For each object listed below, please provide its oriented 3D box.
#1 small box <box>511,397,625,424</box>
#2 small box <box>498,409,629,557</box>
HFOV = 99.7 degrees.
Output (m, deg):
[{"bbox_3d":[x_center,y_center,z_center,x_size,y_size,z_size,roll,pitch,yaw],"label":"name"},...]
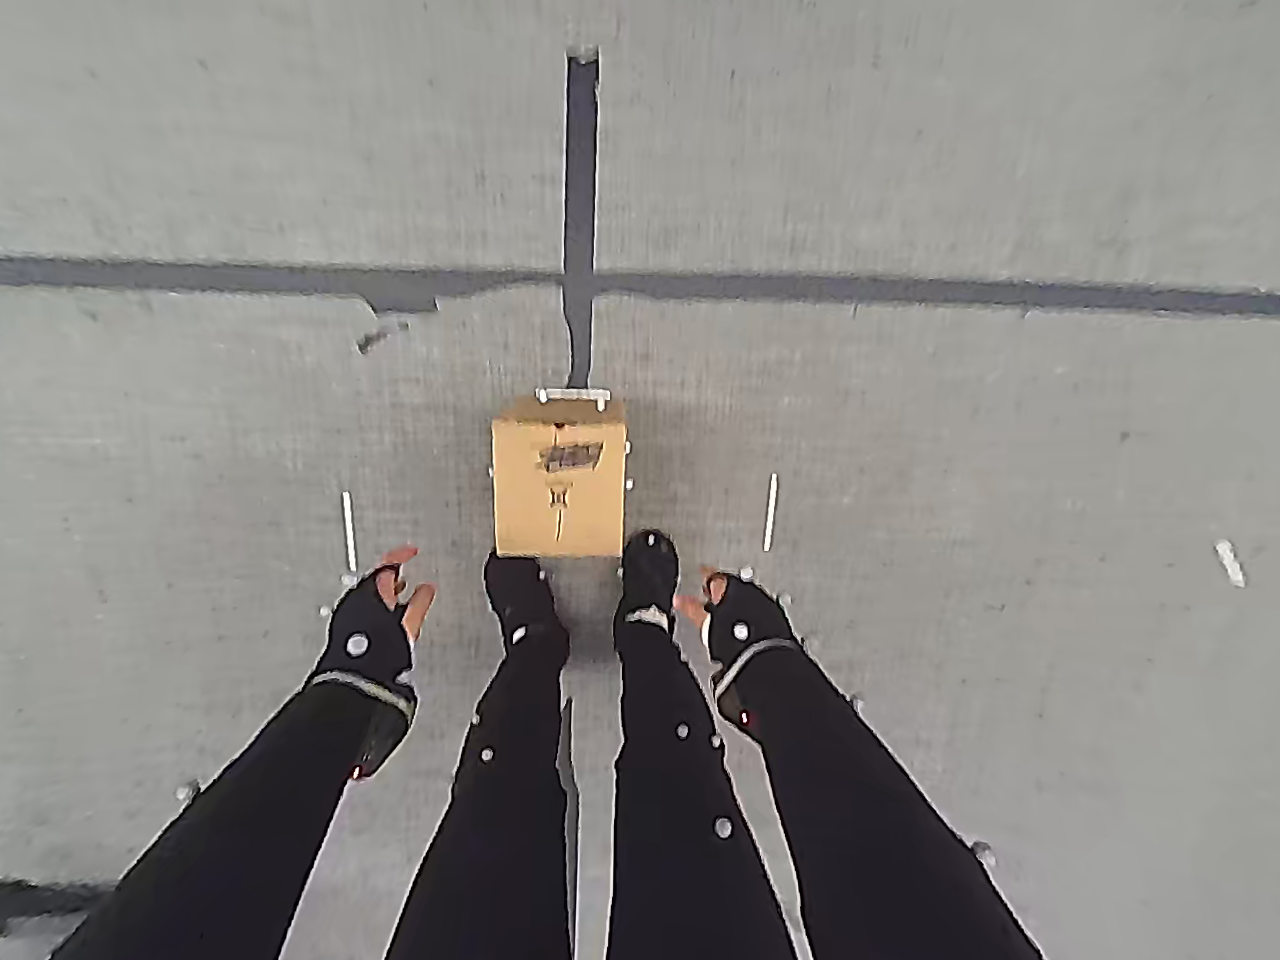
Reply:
[{"bbox_3d":[-0.119,-0.050,0.925,0.179,0.176,0.168,2,105,-5],"label":"small box"},{"bbox_3d":[-0.105,-0.004,0.767,0.168,0.176,0.179,2,105,-4],"label":"small box"}]
